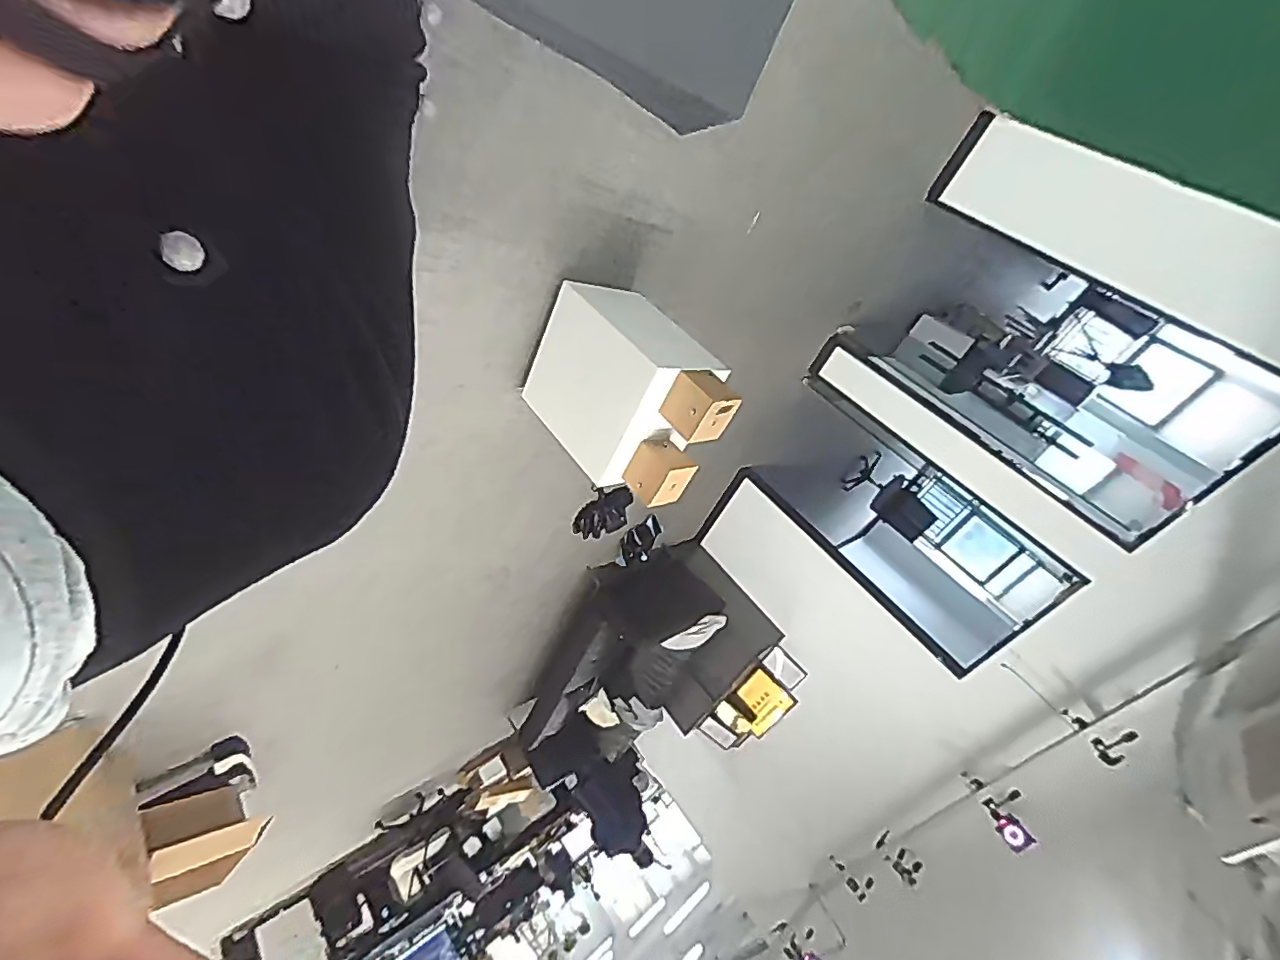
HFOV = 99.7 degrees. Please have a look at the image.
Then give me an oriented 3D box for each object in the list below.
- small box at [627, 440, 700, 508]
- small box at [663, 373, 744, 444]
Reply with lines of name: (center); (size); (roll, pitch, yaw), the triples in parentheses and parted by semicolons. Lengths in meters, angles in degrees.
small box: (0.076, -0.024, 1.959); (0.168, 0.176, 0.179); (-9, 137, -48)
small box: (0.205, -0.244, 1.804); (0.168, 0.176, 0.179); (-12, 142, -44)
